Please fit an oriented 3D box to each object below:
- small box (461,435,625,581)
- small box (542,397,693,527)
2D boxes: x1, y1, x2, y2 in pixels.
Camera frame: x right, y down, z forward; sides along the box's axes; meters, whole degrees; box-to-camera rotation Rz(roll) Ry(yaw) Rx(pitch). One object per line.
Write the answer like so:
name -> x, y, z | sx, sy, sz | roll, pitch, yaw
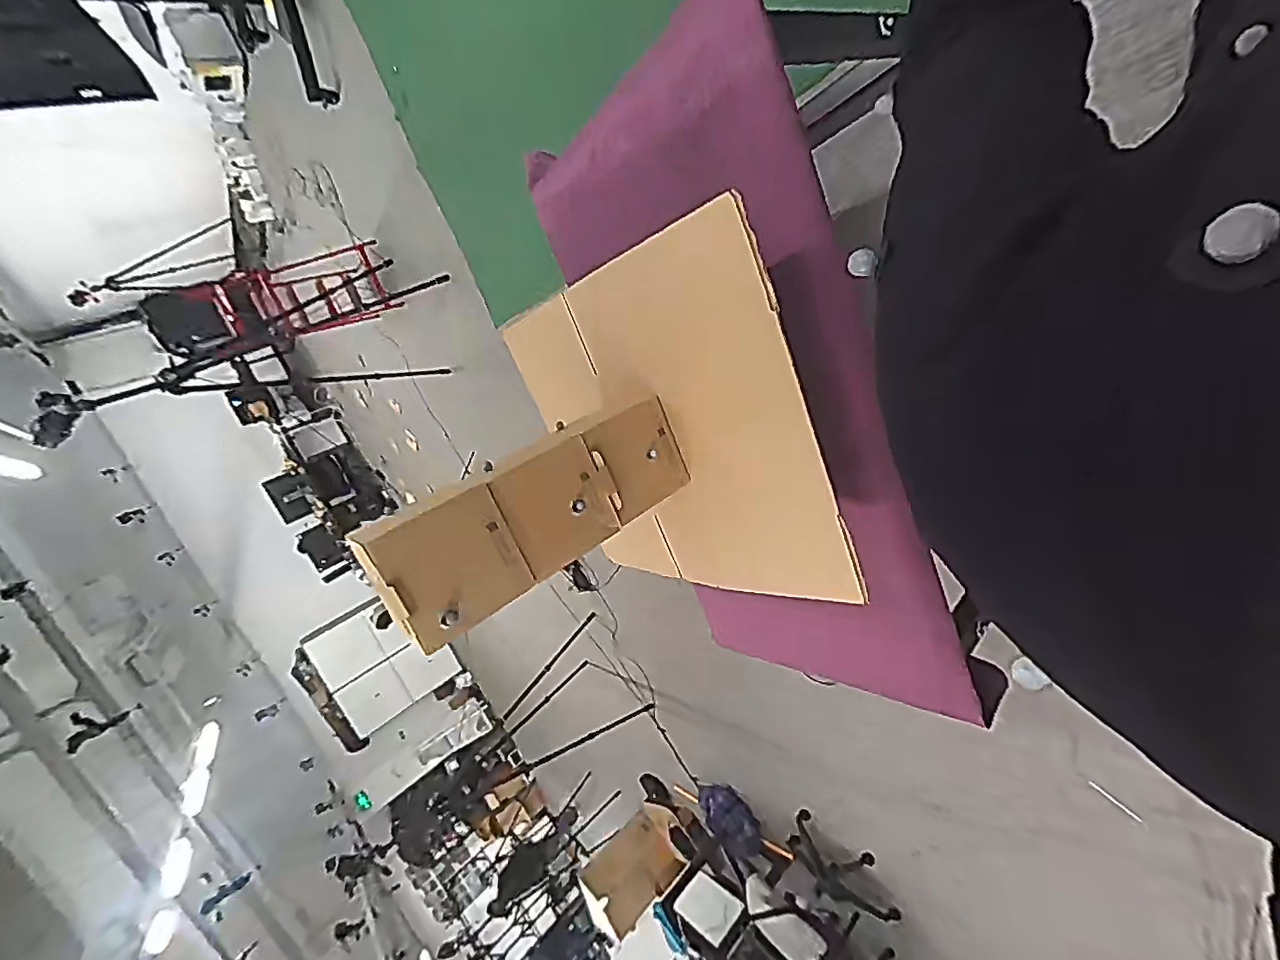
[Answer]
small box -> -0.153, 0.040, 0.864 | 0.179, 0.176, 0.168 | -5, 112, 55
small box -> -0.038, -0.033, 0.954 | 0.179, 0.176, 0.168 | -1, 116, 55
